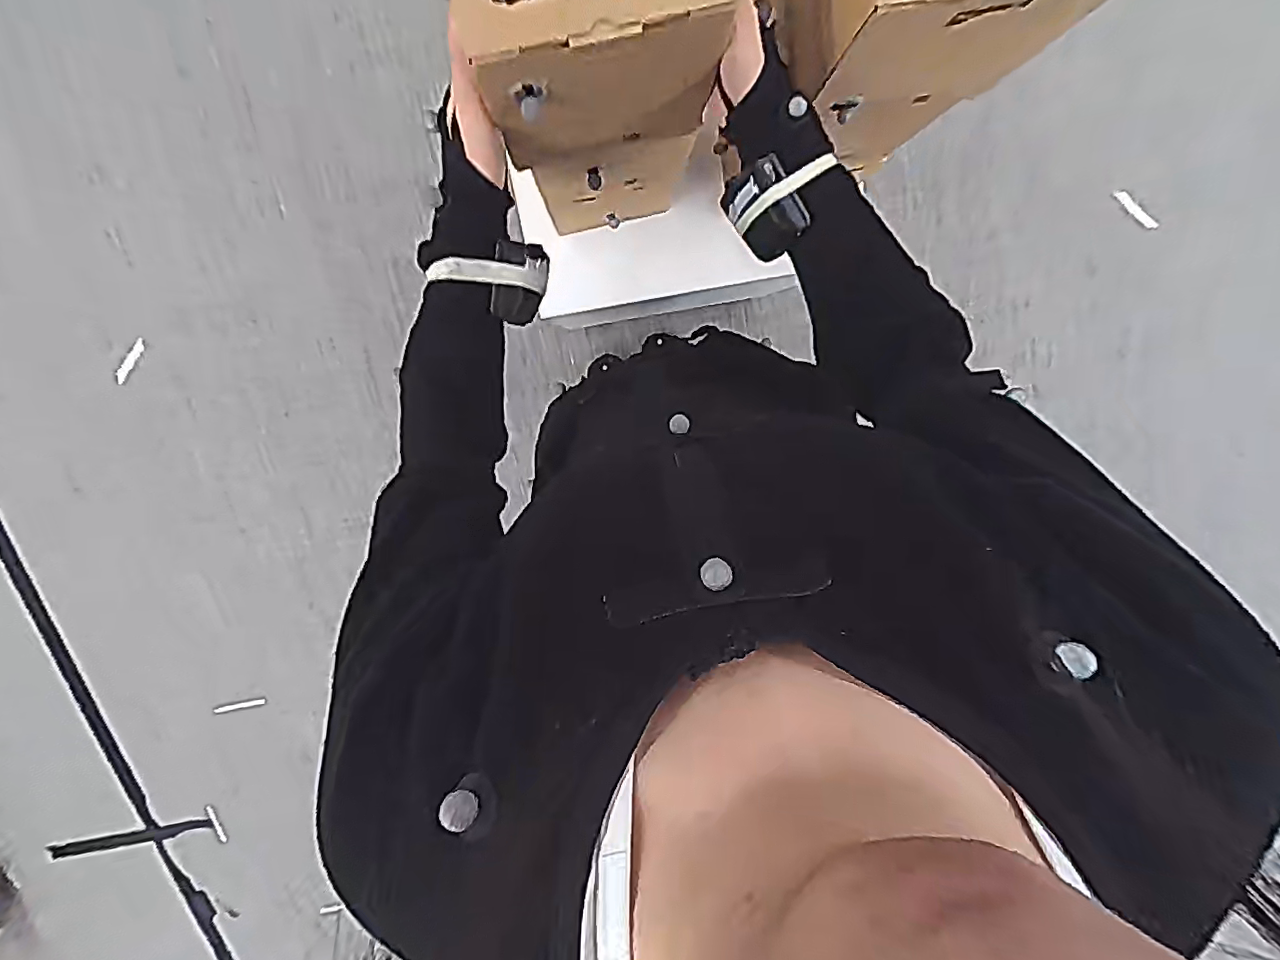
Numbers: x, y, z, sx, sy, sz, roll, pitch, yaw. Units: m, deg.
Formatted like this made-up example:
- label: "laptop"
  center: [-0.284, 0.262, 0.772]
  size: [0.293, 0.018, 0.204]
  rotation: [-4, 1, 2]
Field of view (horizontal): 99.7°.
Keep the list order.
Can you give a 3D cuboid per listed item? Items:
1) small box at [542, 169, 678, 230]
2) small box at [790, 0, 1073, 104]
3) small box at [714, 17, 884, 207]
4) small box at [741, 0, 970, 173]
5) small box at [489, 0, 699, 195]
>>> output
- label: "small box"
  center: [-0.055, -0.446, 0.700]
  size: [0.168, 0.176, 0.179]
  rotation: [-13, 104, 0]
- label: "small box"
  center: [0.211, -0.401, 0.386]
  size: [0.168, 0.176, 0.179]
  rotation: [-7, 102, 1]
- label: "small box"
  center: [0.198, -0.471, 0.705]
  size: [0.168, 0.176, 0.179]
  rotation: [-10, 105, 0]
- label: "small box"
  center: [0.204, -0.441, 0.546]
  size: [0.168, 0.176, 0.179]
  rotation: [-9, 105, 1]
- label: "small box"
  center: [-0.044, -0.406, 0.542]
  size: [0.168, 0.176, 0.179]
  rotation: [-12, 103, 0]
